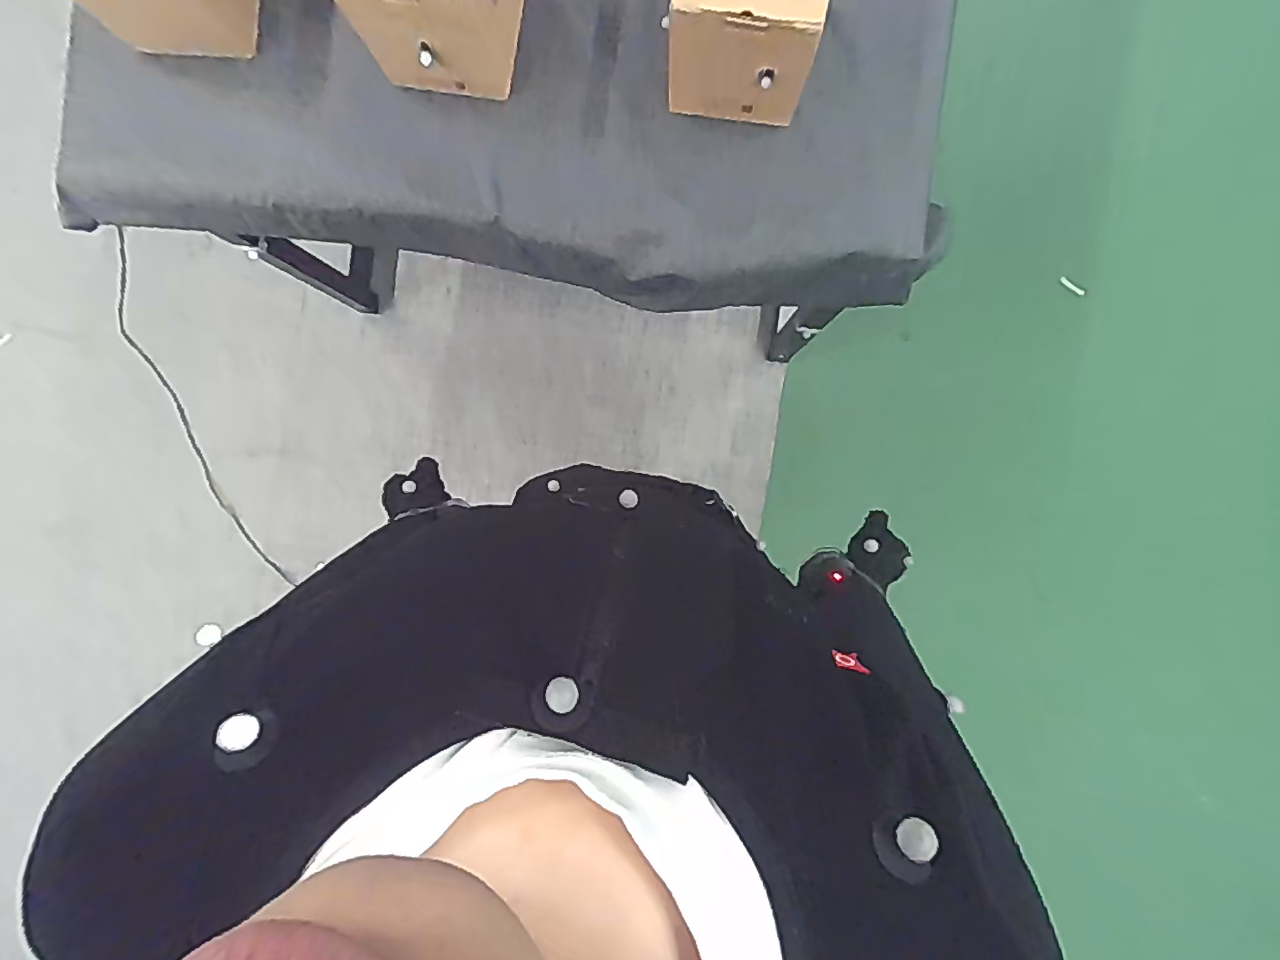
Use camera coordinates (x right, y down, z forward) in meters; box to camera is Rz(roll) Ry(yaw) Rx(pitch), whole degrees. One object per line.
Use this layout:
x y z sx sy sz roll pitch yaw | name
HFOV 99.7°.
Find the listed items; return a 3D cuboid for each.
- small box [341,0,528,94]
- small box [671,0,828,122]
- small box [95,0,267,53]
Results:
-0.244 -0.620 0.664 0.168 0.176 0.179 9 91 2 | small box
0.131 -0.572 0.649 0.168 0.176 0.179 9 90 2 | small box
-0.610 -0.681 0.678 0.179 0.176 0.168 5 91 1 | small box
